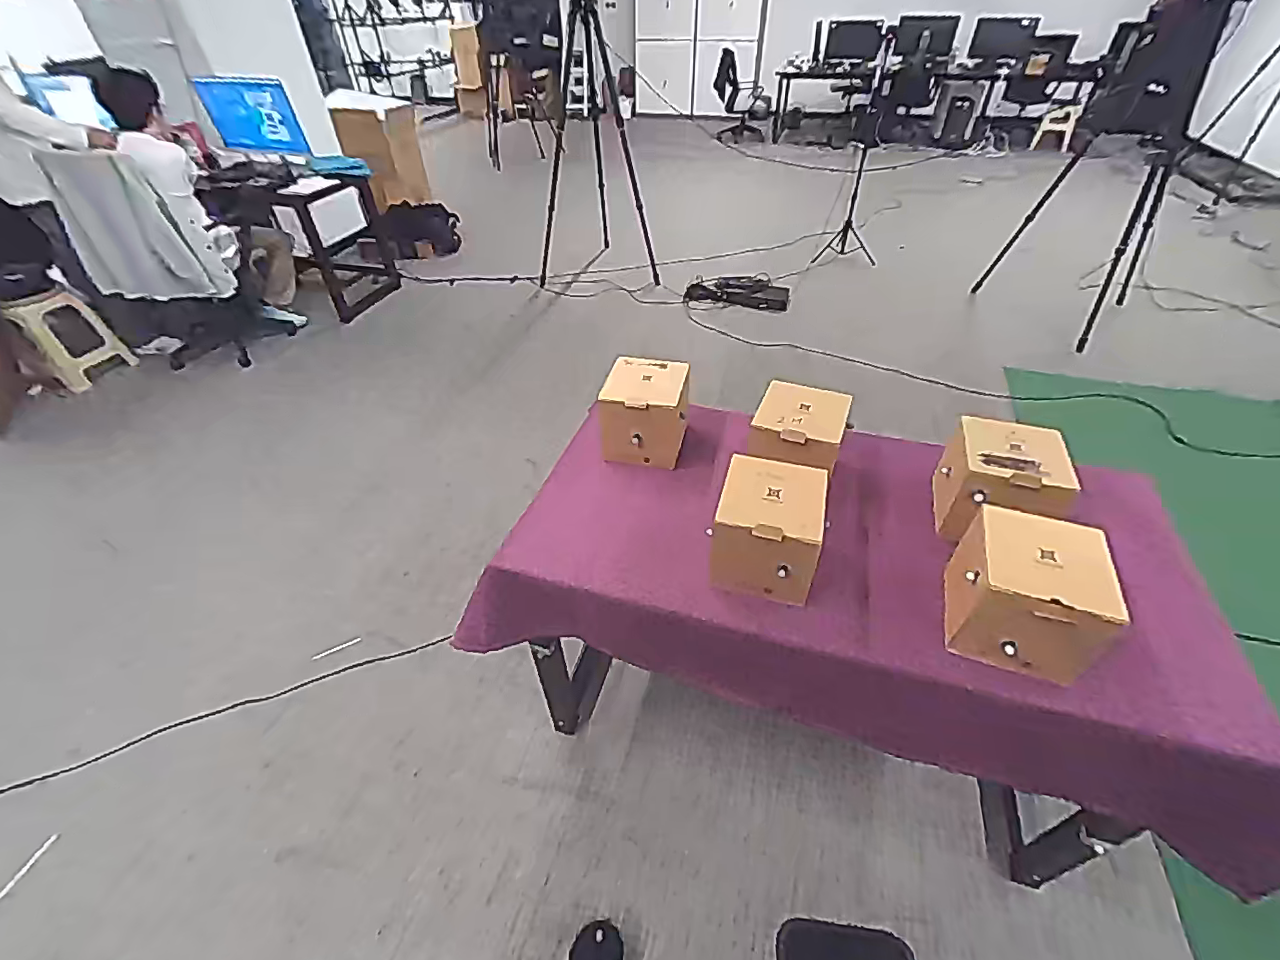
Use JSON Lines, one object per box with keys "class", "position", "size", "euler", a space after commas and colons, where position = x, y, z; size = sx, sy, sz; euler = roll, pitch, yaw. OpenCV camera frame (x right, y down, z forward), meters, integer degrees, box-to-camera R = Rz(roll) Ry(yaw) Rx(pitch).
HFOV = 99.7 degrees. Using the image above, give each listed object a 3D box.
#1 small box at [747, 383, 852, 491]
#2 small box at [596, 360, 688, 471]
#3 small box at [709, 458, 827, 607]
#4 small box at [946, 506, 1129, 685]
{"class": "small box", "position": [0.317, -0.070, 1.104], "size": [0.168, 0.176, 0.179], "euler": [16, 45, 19]}
{"class": "small box", "position": [0.011, -0.141, 1.195], "size": [0.168, 0.176, 0.179], "euler": [9, 44, 10]}
{"class": "small box", "position": [0.217, 0.090, 0.931], "size": [0.168, 0.176, 0.179], "euler": [11, 42, 14]}
{"class": "small box", "position": [0.582, 0.174, 0.822], "size": [0.168, 0.176, 0.179], "euler": [14, 44, 18]}
